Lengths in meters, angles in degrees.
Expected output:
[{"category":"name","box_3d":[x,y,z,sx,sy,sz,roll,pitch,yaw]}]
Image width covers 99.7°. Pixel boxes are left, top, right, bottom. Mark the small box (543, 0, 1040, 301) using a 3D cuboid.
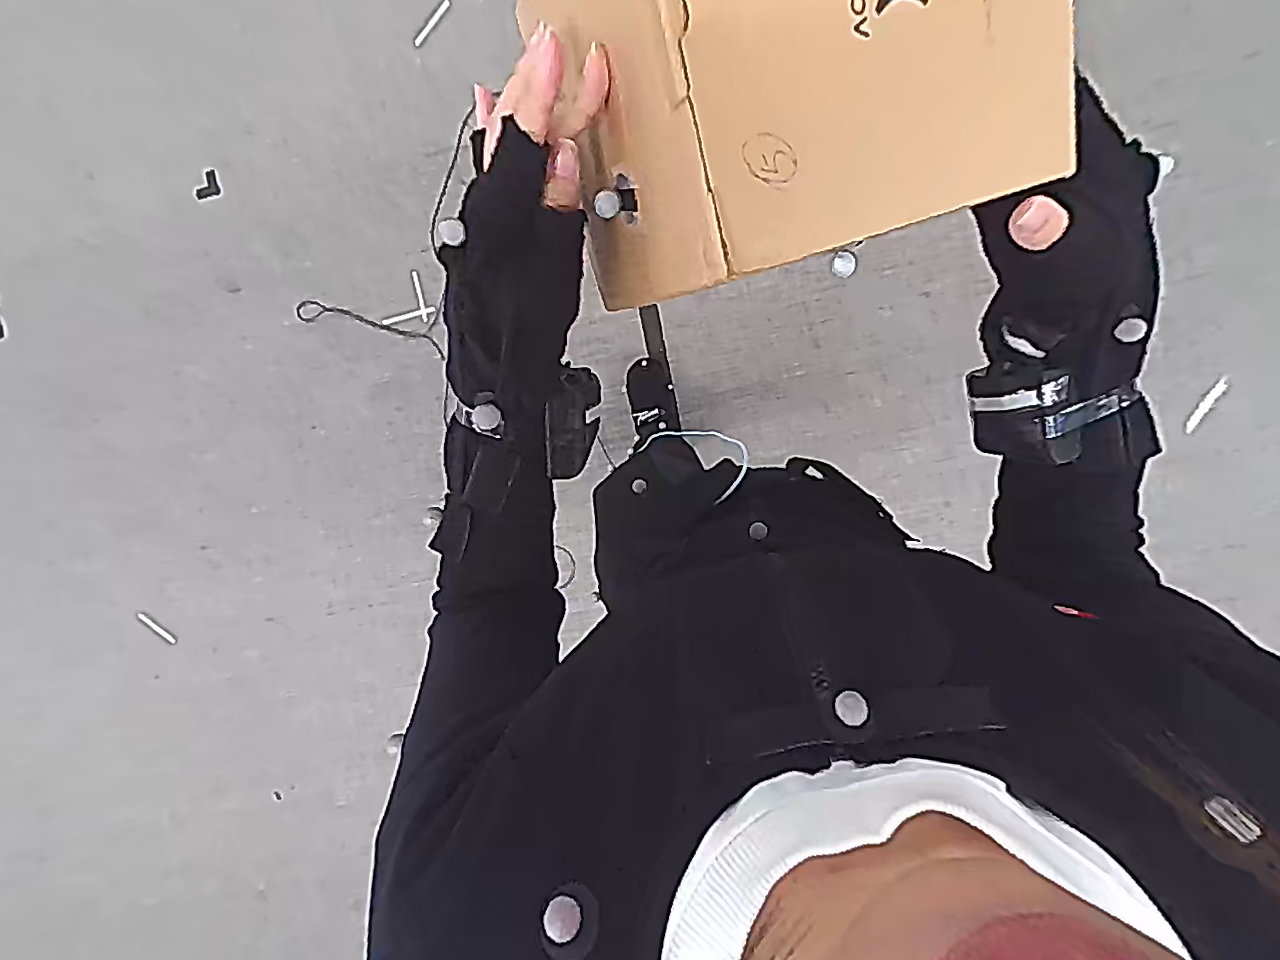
[{"category":"small box","box_3d":[0.058,-0.201,0.280,0.179,0.176,0.168,-21,108,-14]}]
